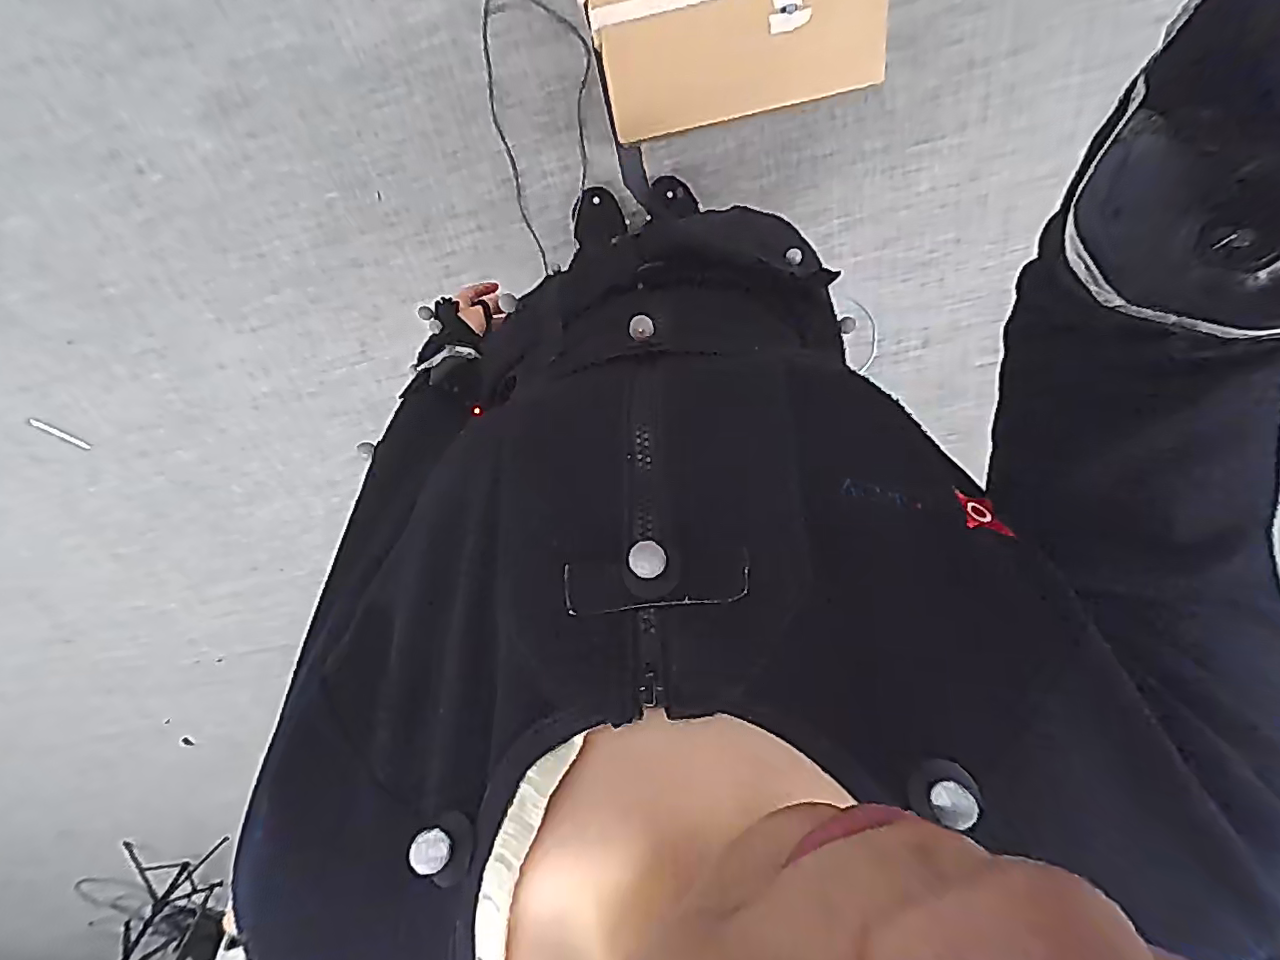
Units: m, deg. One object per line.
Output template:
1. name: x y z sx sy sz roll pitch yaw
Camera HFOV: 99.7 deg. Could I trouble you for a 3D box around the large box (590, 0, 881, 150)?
1. large box: 0.130 -0.761 0.877 0.408 0.320 0.320 -10 120 4
